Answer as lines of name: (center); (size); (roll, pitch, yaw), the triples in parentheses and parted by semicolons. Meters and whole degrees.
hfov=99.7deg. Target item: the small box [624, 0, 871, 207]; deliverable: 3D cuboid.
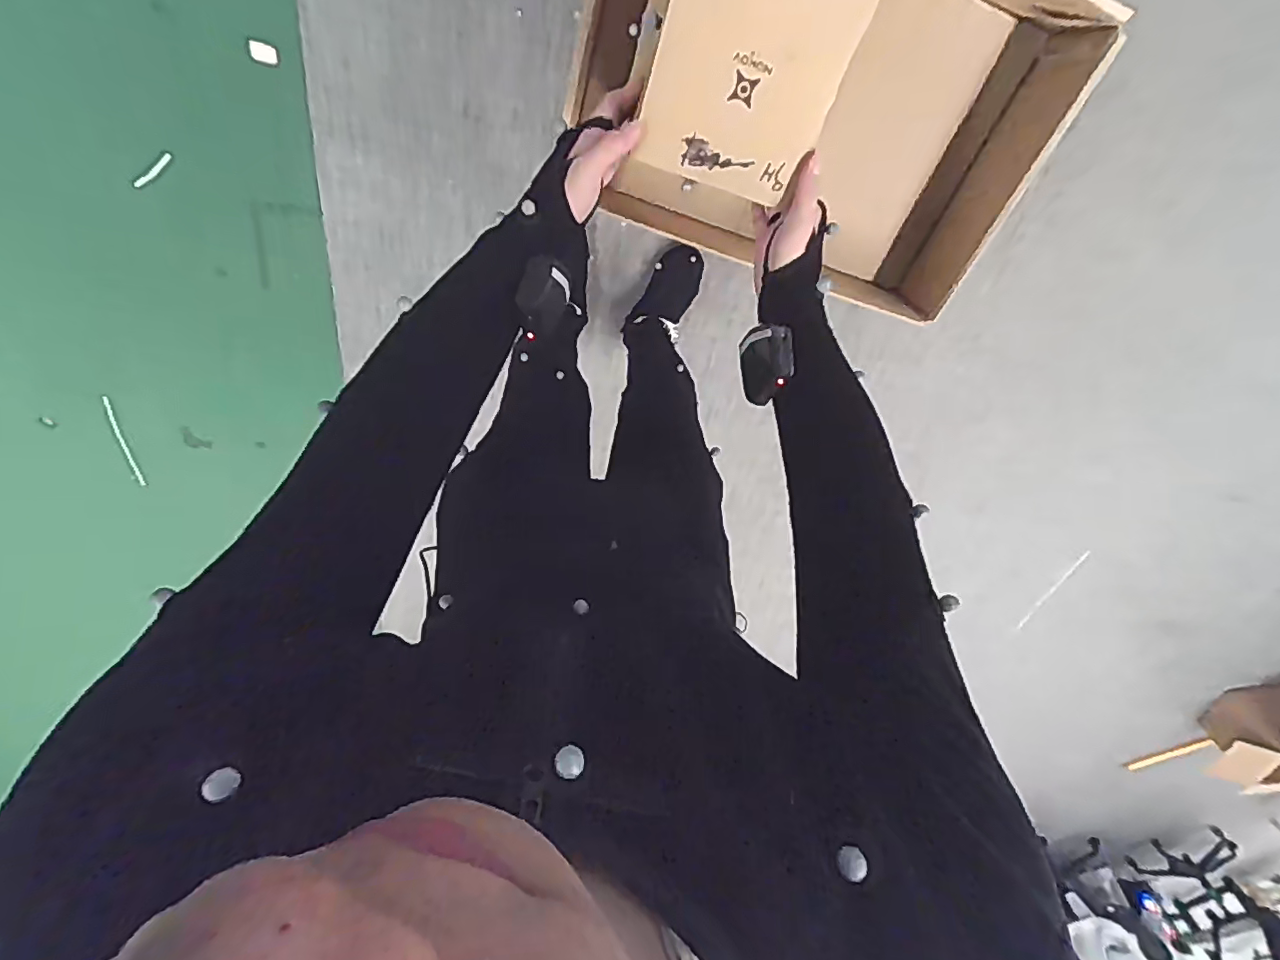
small box: (0.084, -0.399, 0.529); (0.168, 0.176, 0.179); (12, 126, -13)
